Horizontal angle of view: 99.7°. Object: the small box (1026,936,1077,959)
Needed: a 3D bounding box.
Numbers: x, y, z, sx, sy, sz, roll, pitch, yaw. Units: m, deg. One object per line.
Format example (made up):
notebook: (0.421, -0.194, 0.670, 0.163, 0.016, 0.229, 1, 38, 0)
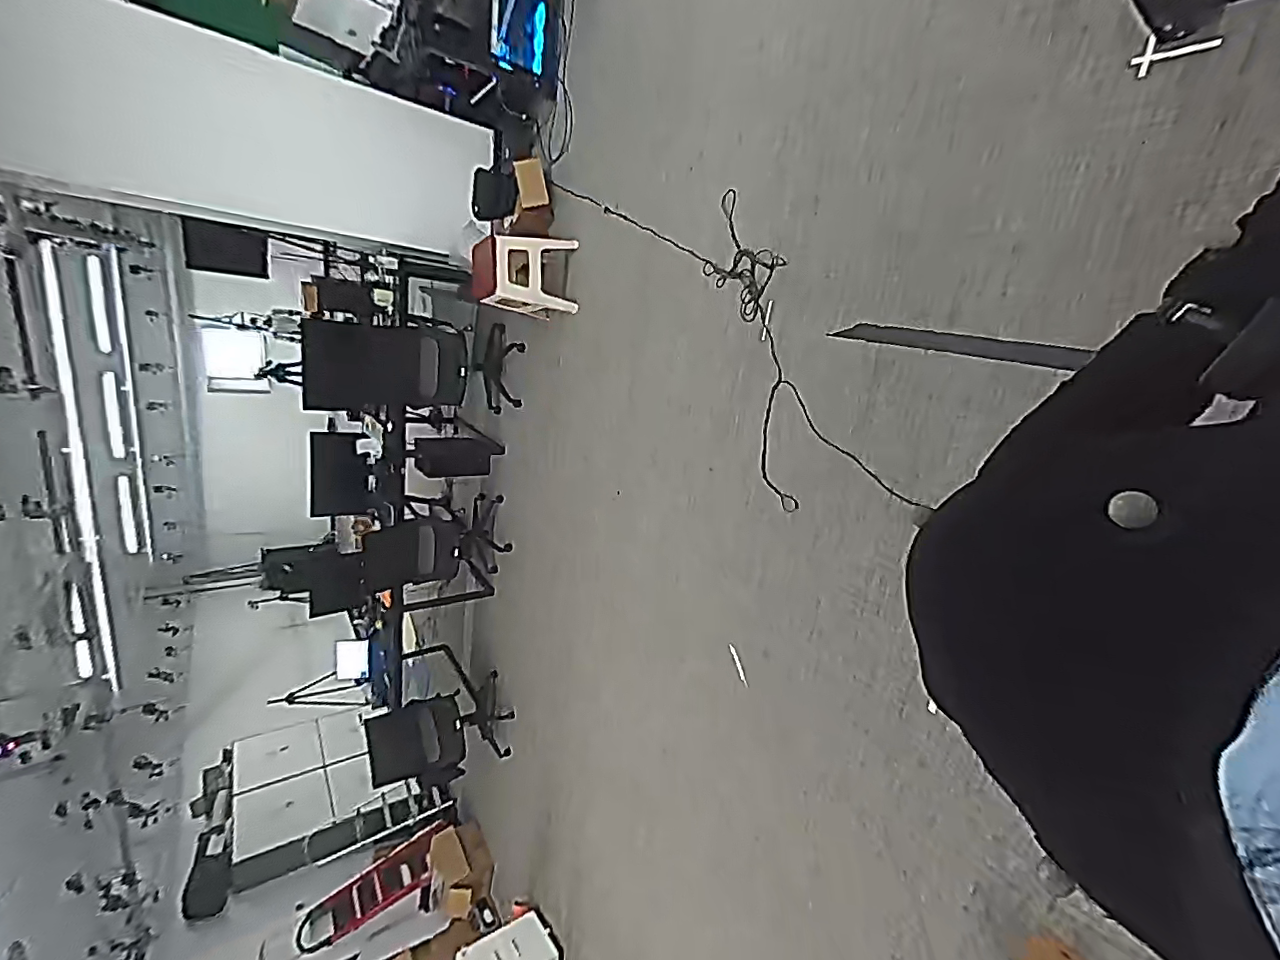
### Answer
small box: (0.973, 1.228, 1.258, 0.168, 0.176, 0.179, 34, 120, 48)
